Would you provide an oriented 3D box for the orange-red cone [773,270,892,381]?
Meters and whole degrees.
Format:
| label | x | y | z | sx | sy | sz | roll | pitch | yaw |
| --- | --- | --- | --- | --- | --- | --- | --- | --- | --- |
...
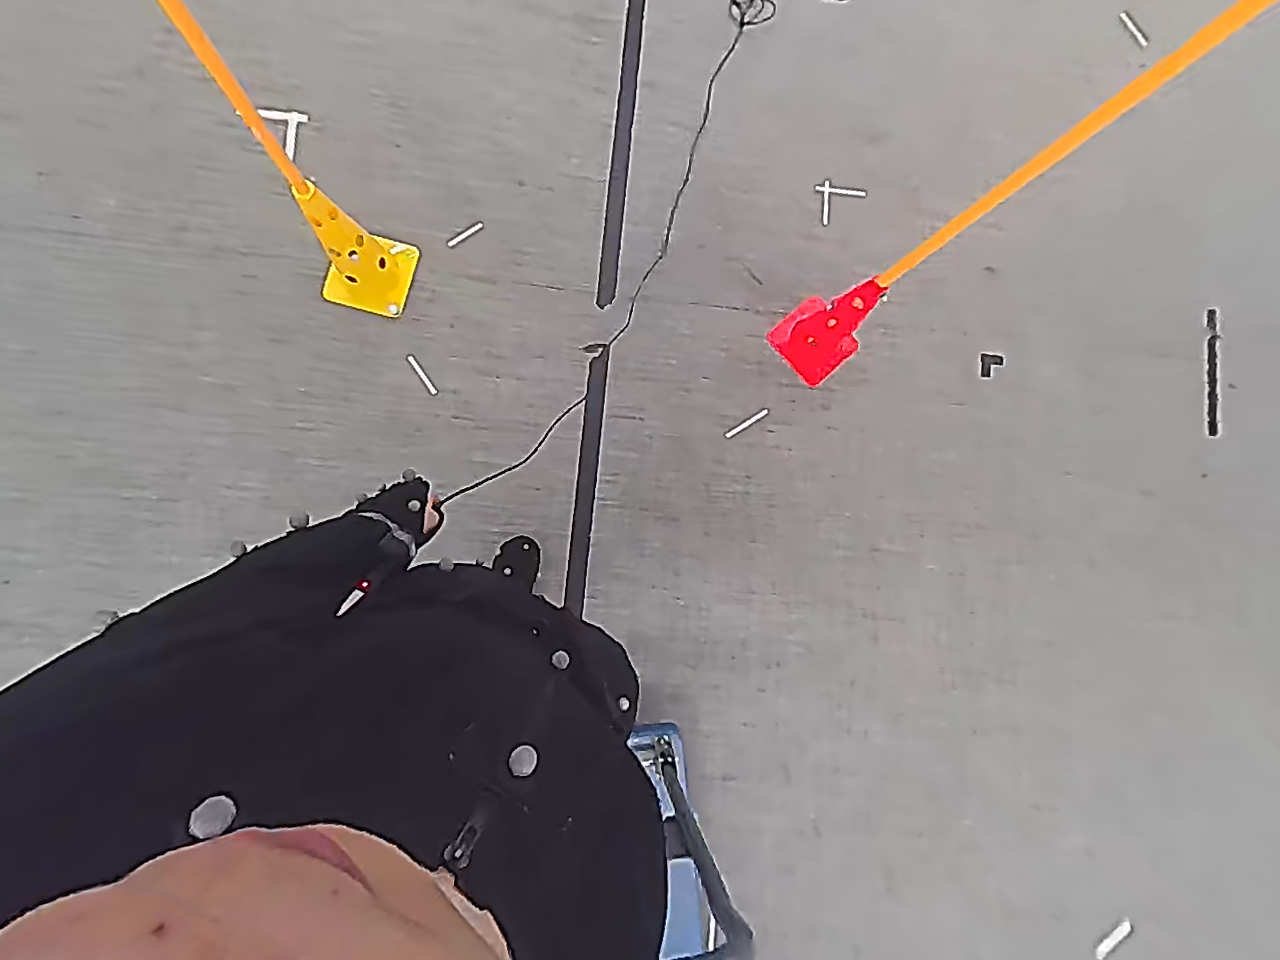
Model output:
| label | x | y | z | sx | sy | sz | roll | pitch | yaw |
| --- | --- | --- | --- | --- | --- | --- | --- | --- | --- |
| orange-red cone | 0.506 | -0.411 | 1.326 | 0.199 | 0.360 | 0.198 | -40 | 89 | -7 |
